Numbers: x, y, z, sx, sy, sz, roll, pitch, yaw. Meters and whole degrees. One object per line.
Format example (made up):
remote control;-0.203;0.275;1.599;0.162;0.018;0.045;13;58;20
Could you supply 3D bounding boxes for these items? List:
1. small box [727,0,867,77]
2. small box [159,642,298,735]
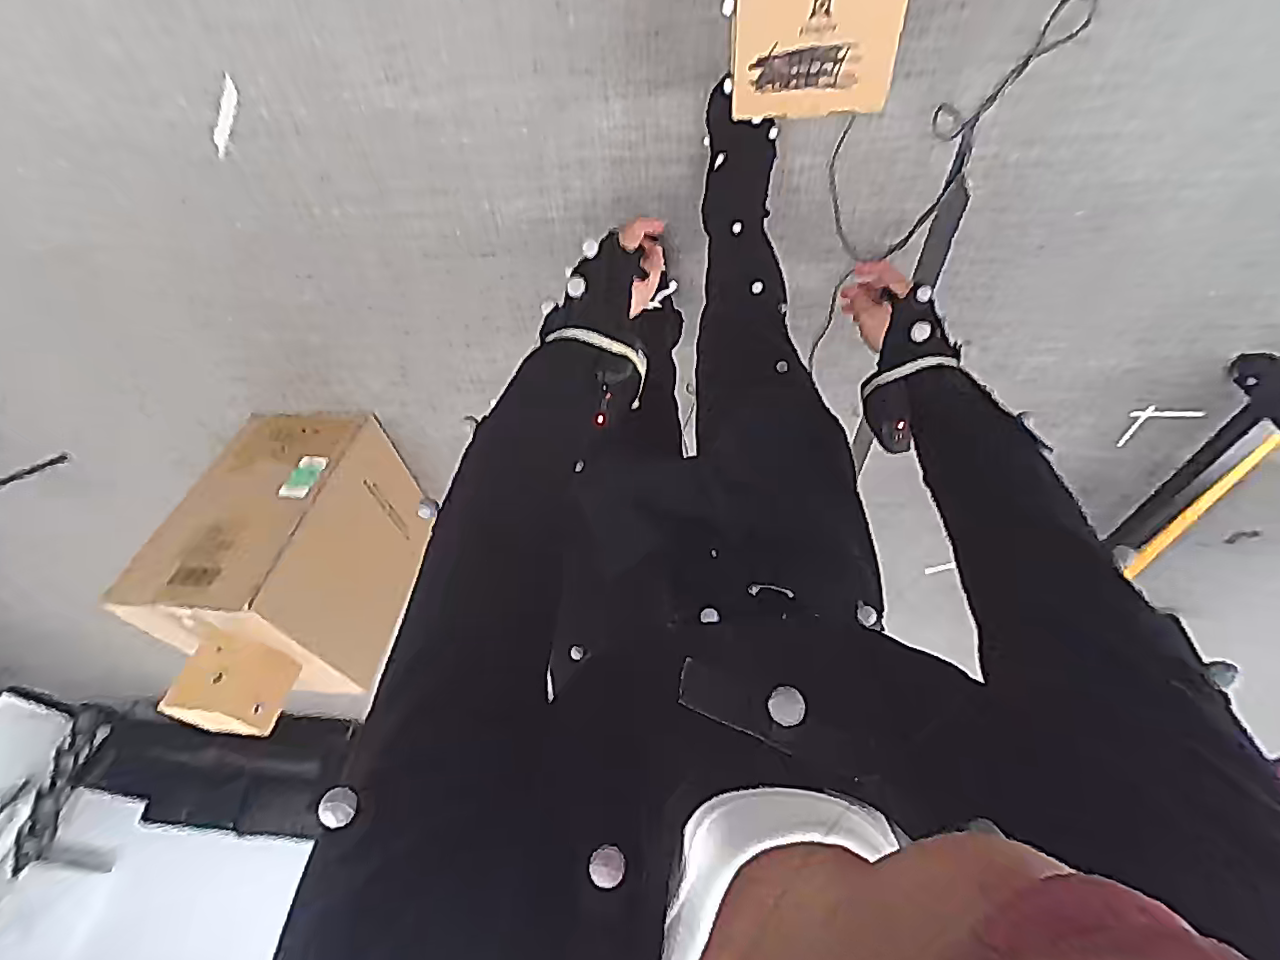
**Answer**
small box;0.198;-0.652;0.694;0.168;0.176;0.179;1;141;8
small box;-0.991;0.507;1.319;0.168;0.176;0.179;1;141;8
